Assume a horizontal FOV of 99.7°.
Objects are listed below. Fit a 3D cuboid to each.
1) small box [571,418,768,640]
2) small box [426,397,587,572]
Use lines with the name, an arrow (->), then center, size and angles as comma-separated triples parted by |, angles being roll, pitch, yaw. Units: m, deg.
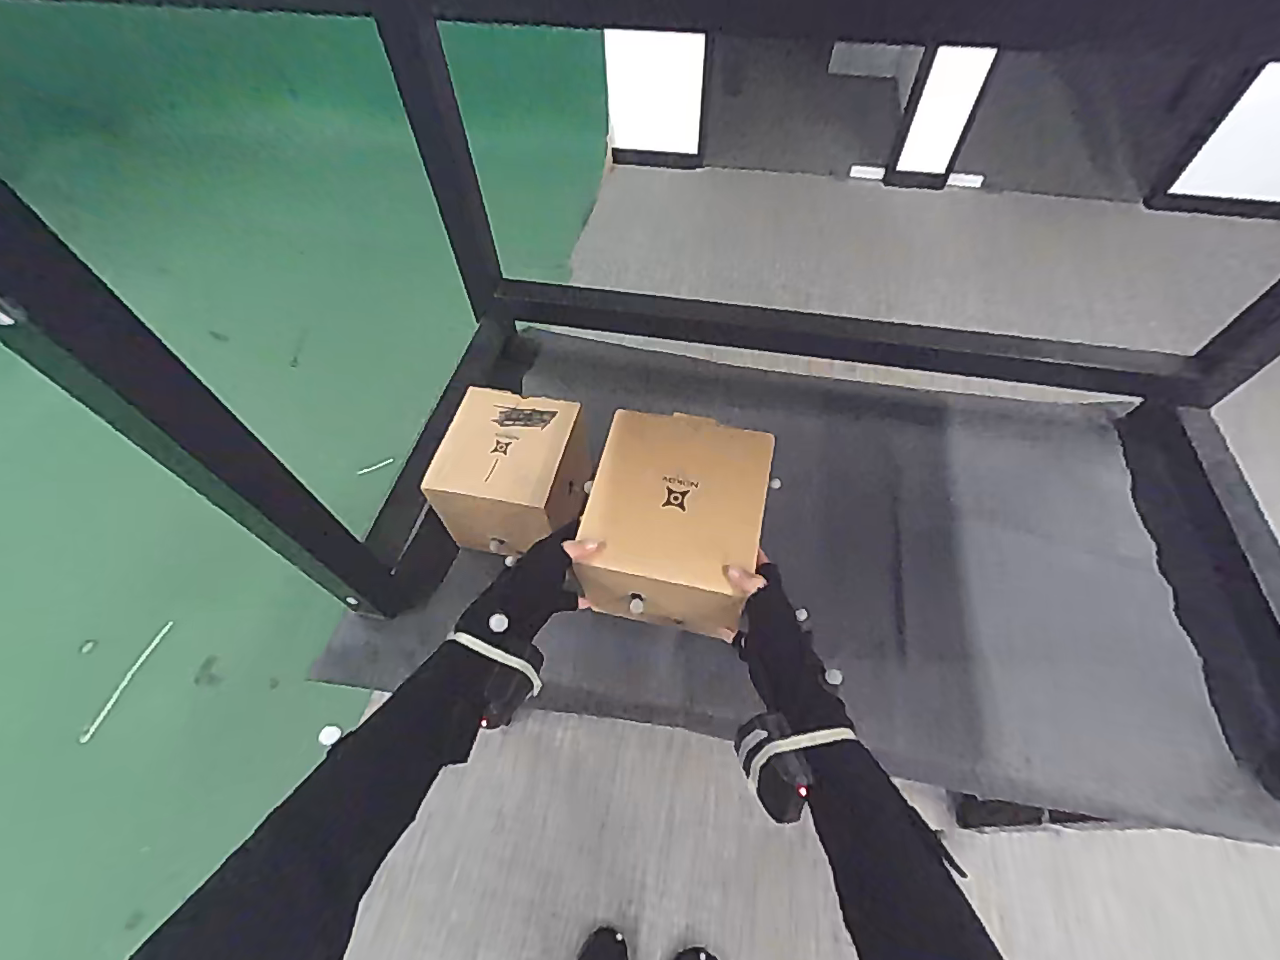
small box -> 0.038, 0.061, 0.593 | 0.168, 0.176, 0.179 | 10, 60, 9
small box -> -0.177, 0.009, 0.787 | 0.168, 0.176, 0.179 | 9, 56, 7
